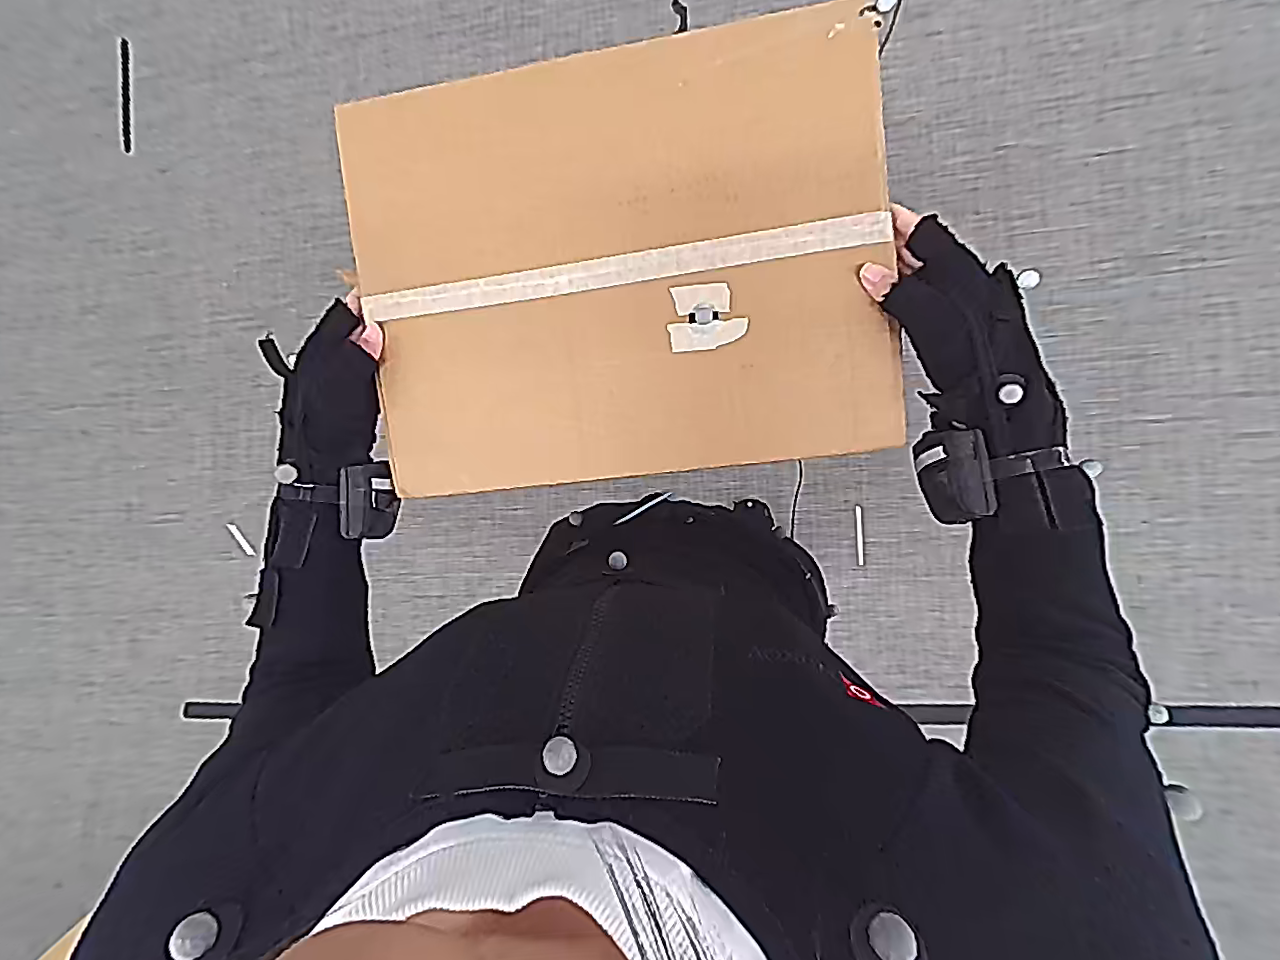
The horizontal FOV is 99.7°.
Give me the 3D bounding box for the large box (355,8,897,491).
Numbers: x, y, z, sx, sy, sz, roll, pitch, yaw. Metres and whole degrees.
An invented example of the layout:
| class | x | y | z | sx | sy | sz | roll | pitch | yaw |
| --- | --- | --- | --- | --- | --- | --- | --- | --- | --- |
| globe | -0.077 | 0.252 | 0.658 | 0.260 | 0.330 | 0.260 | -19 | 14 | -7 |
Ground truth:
| class | x | y | z | sx | sy | sz | roll | pitch | yaw |
| --- | --- | --- | --- | --- | --- | --- | --- | --- | --- |
| large box | -0.003 | -0.179 | 0.570 | 0.408 | 0.320 | 0.320 | -6 | 96 | 7 |
